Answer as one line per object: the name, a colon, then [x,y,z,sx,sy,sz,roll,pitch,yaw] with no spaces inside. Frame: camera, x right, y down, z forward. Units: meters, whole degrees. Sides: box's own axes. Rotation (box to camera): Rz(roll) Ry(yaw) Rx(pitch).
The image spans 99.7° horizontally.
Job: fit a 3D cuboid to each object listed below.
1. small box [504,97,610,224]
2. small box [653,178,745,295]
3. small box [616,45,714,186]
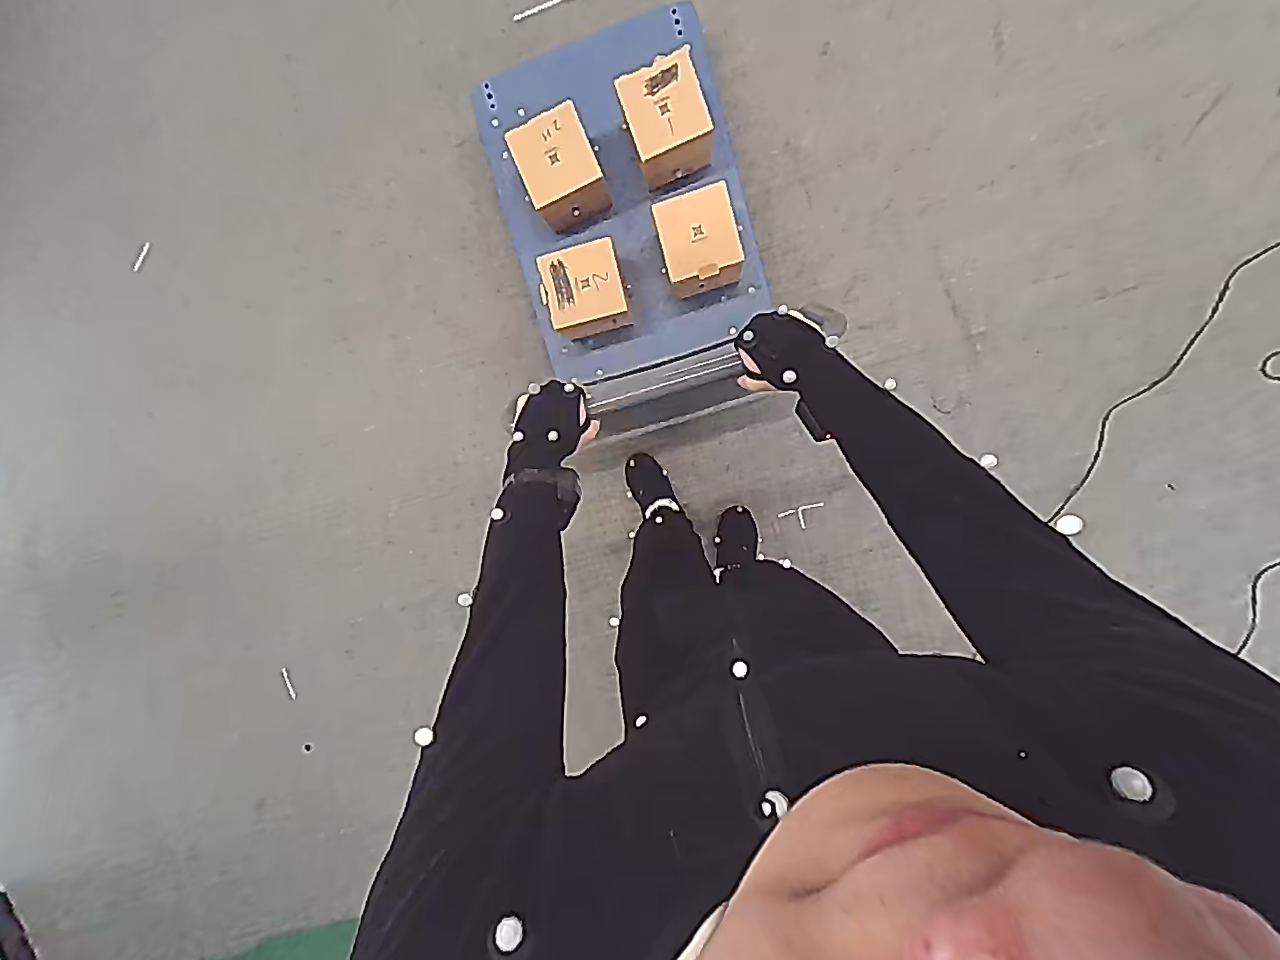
small box: [-0.181,-0.719,1.247,0.168,0.176,0.179,-23,95,7]
small box: [0.133,-0.549,1.241,0.168,0.176,0.179,-16,96,7]
small box: [0.057,-0.805,1.214,0.168,0.176,0.179,-20,96,8]
